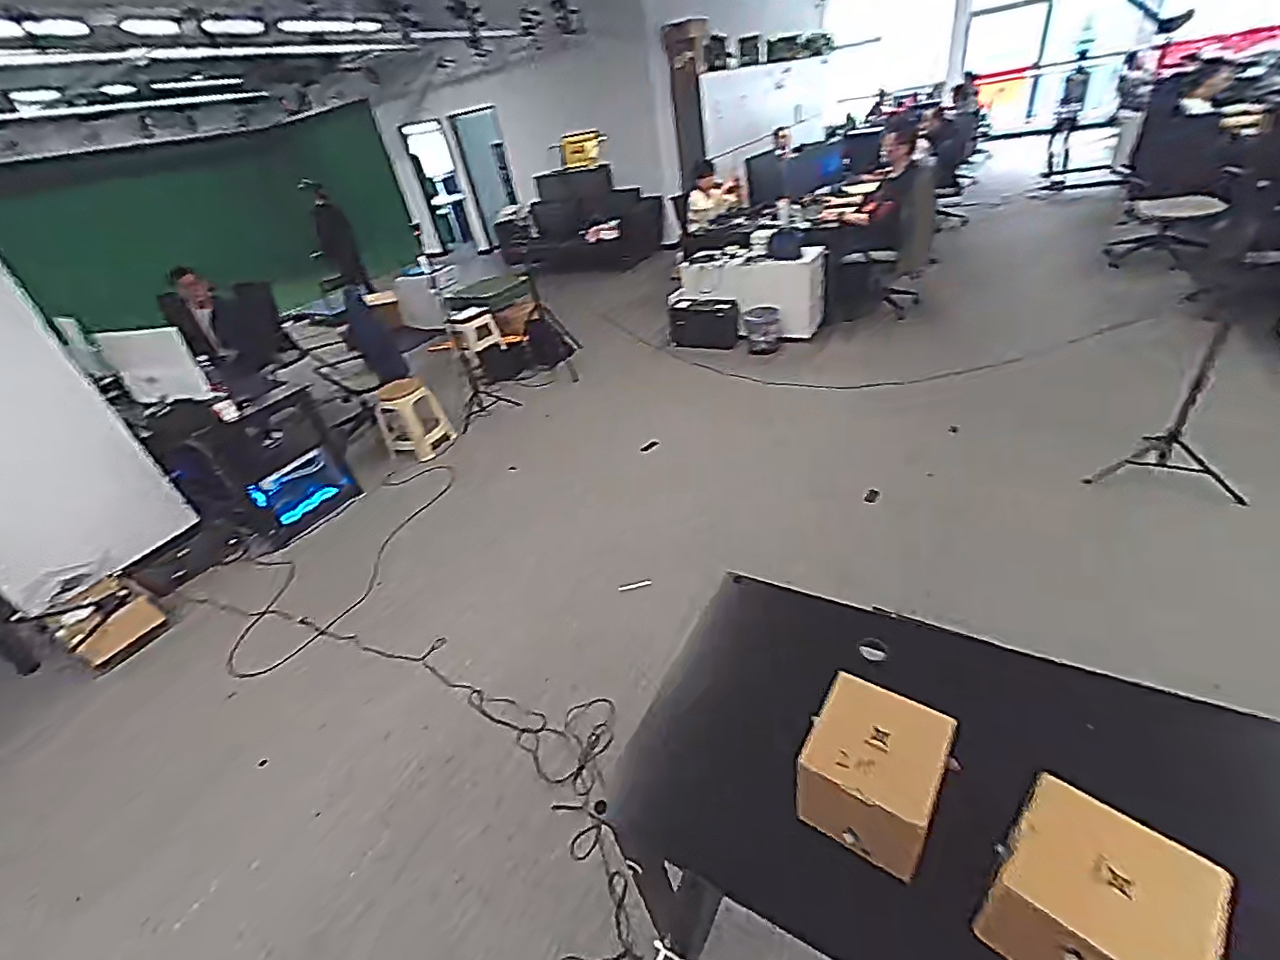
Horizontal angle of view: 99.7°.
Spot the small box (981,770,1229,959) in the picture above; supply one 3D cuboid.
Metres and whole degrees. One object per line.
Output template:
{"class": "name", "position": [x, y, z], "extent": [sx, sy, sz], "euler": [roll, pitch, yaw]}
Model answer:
{"class": "small box", "position": [0.540, 0.502, 0.646], "extent": [0.179, 0.176, 0.168], "euler": [21, 46, 41]}

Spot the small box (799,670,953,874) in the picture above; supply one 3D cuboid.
{"class": "small box", "position": [0.347, 0.430, 0.809], "extent": [0.168, 0.176, 0.179], "euler": [15, 43, 34]}
